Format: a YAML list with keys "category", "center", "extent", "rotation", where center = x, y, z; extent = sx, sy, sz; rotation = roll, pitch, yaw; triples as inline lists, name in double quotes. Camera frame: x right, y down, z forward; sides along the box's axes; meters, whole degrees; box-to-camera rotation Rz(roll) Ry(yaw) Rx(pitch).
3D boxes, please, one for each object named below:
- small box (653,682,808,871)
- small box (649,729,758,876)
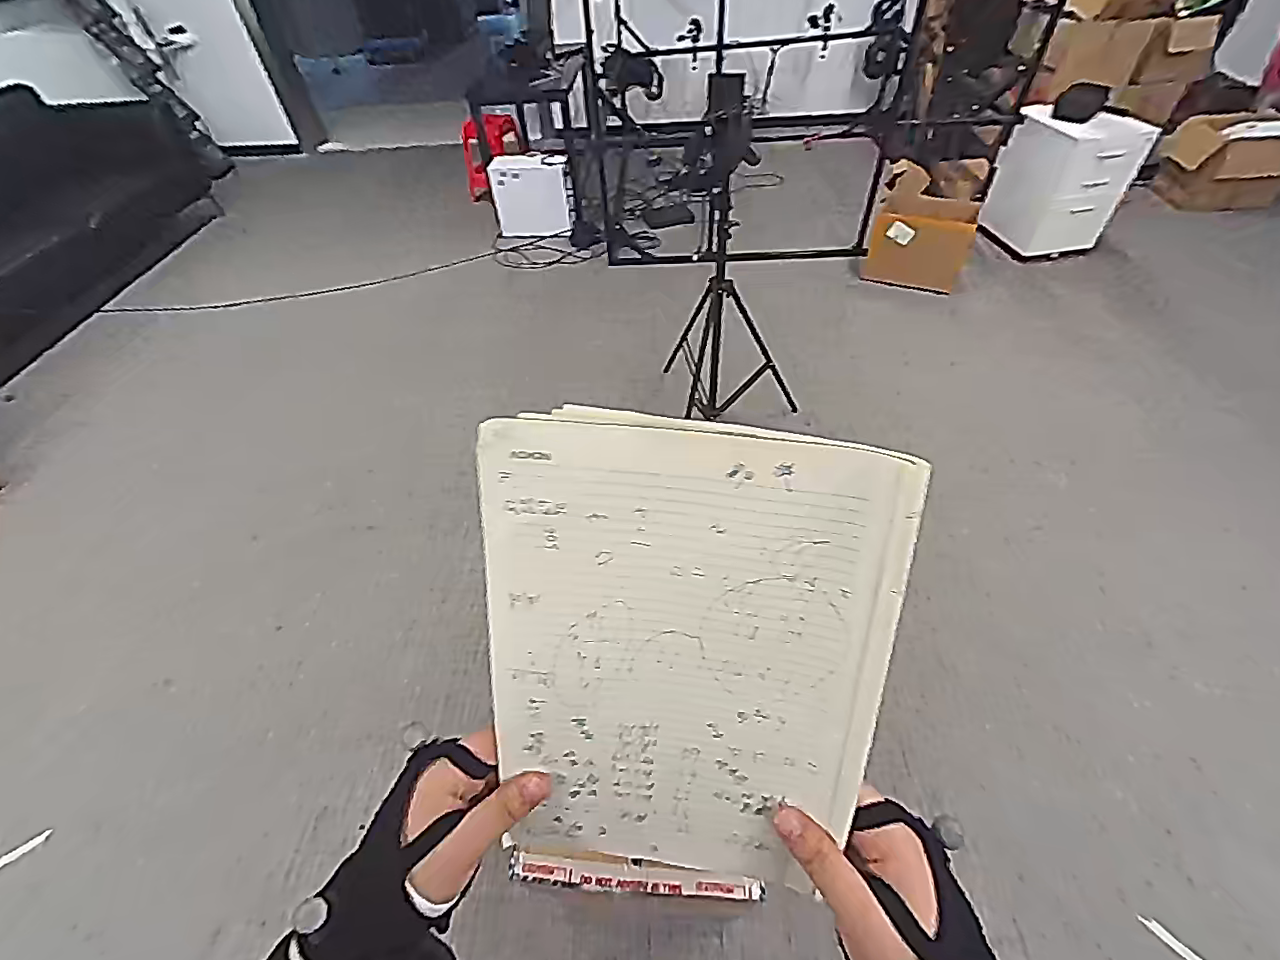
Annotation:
- category: "small box"
  center: [0.103, 0.379, 0.690]
  extent: [0.168, 0.176, 0.179]
  rotation: [2, 50, 3]
- category: "small box"
  center: [0.102, 0.487, 0.815]
  extent: [0.179, 0.176, 0.168]
  rotation: [-1, 49, 1]
